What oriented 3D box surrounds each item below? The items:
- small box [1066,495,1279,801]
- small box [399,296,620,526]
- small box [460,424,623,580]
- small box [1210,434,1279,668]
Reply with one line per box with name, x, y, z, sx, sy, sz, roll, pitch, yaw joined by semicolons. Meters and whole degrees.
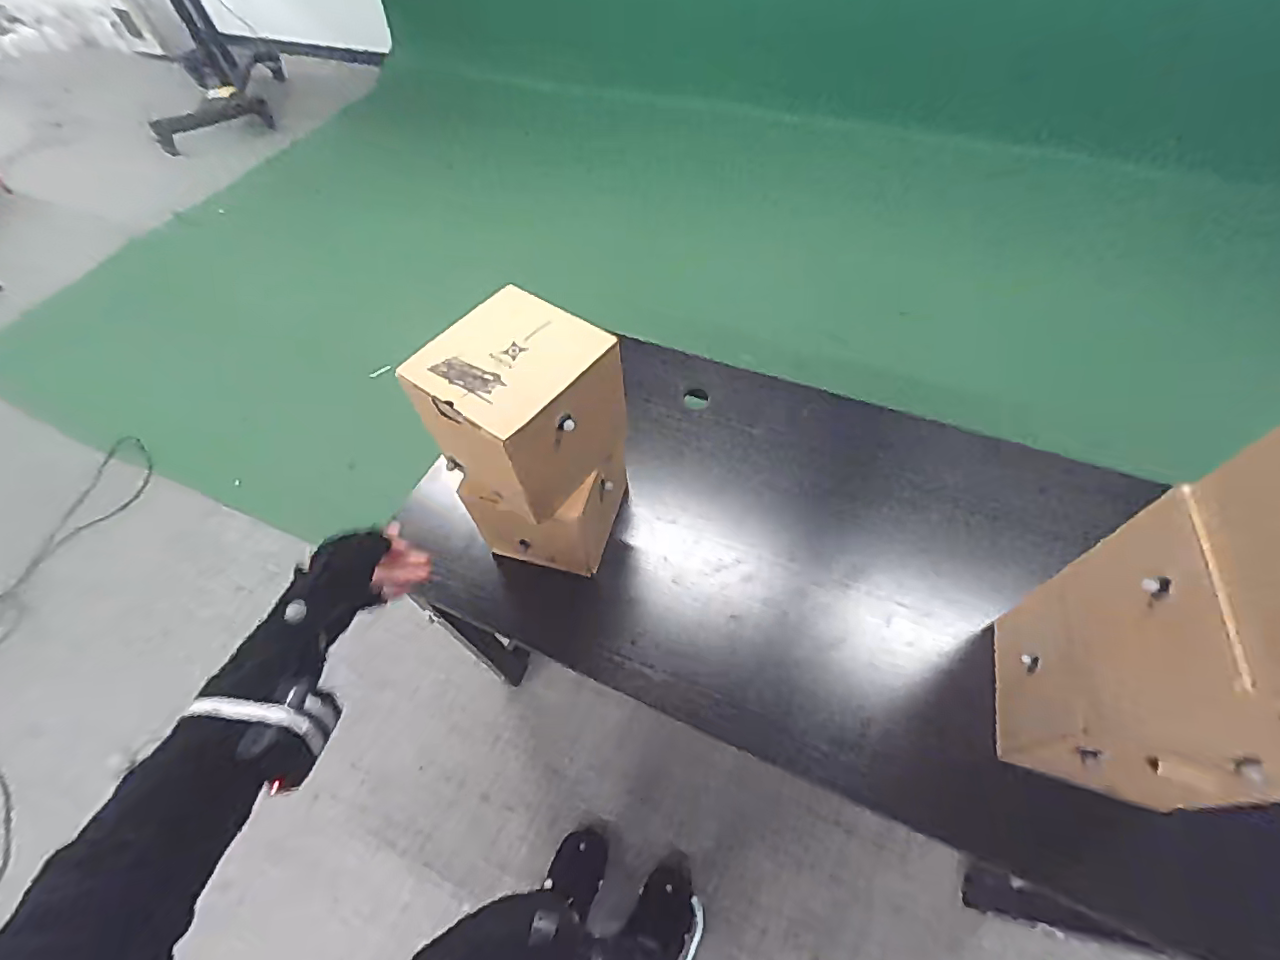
small box;0.497;0.143;0.451;0.168;0.176;0.179;12;57;12
small box;-0.136;-0.076;0.639;0.168;0.176;0.179;32;62;21
small box;-0.125;0.017;0.774;0.168;0.176;0.179;12;58;11
small box;0.495;0.043;0.302;0.168;0.176;0.179;12;56;11
